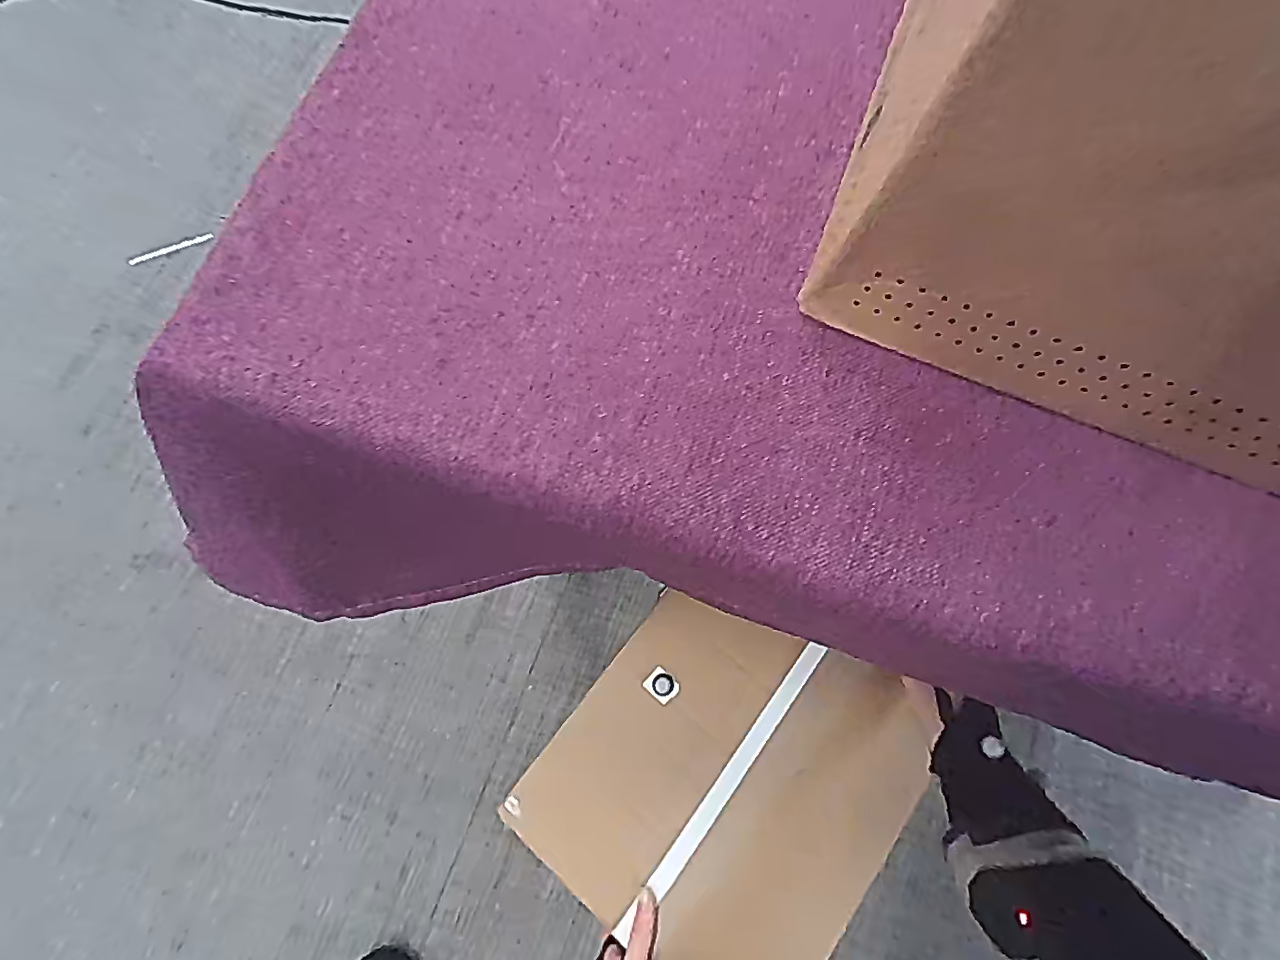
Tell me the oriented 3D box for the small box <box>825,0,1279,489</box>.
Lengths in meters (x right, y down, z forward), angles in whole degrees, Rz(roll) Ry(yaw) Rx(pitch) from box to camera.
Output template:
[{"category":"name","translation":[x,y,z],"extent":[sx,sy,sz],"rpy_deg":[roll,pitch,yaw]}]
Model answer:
[{"category":"small box","translation":[0.163,-0.110,0.110],"extent":[0.179,0.176,0.168],"rpy_deg":[21,77,3]}]
